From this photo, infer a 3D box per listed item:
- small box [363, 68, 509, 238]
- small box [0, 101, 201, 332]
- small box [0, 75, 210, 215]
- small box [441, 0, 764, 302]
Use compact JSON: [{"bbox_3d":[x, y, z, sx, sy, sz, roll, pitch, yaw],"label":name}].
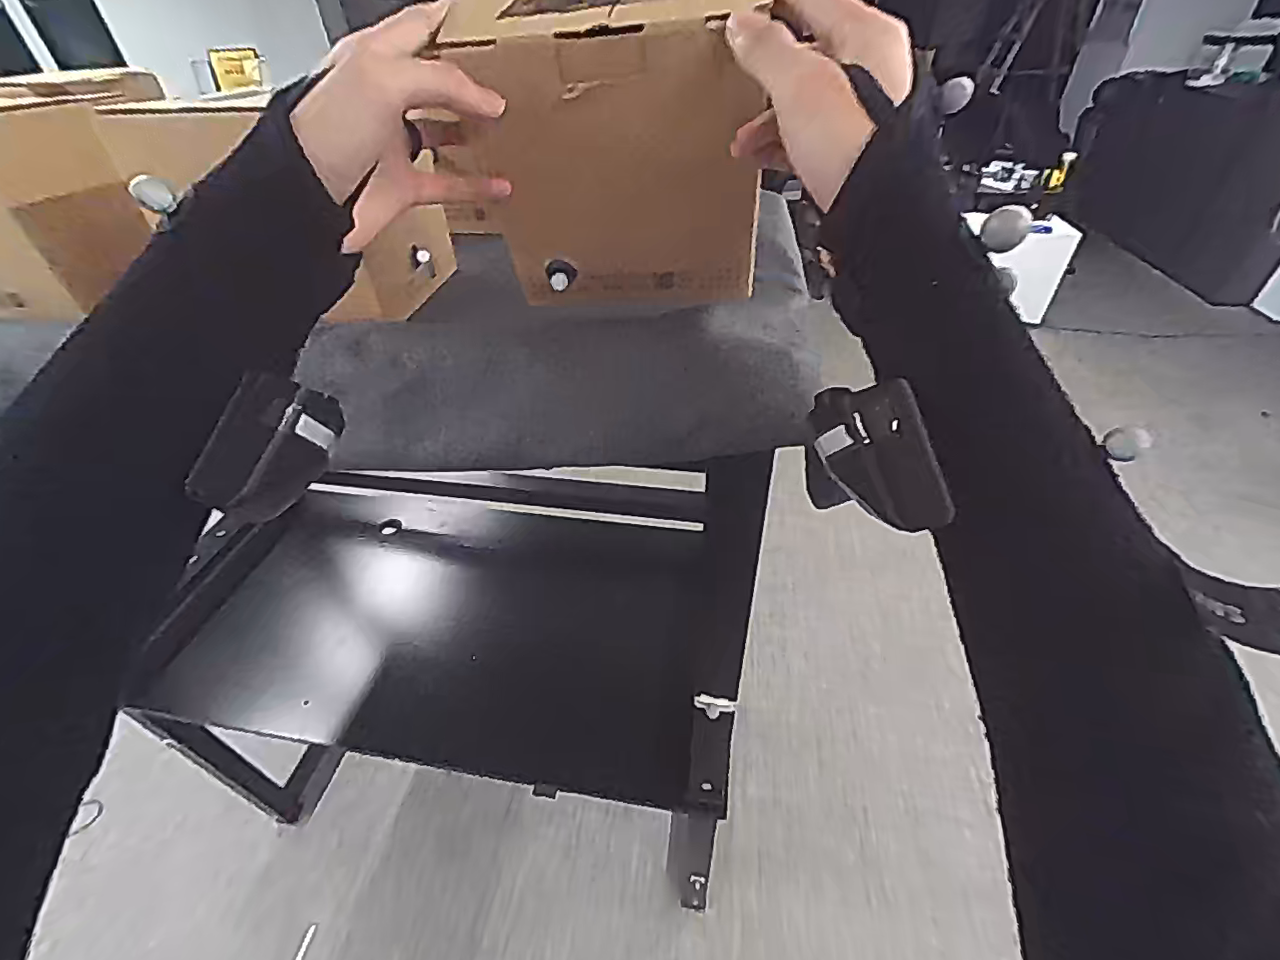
[{"bbox_3d":[-0.211,-0.424,0.700,0.168,0.176,0.179,4,41,8],"label":"small box"},{"bbox_3d":[-0.585,-0.258,0.526,0.168,0.176,0.179,1,40,6],"label":"small box"},{"bbox_3d":[-0.782,-0.464,0.774,0.179,0.176,0.168,4,41,6],"label":"small box"},{"bbox_3d":[-0.006,-0.239,0.370,0.168,0.176,0.179,0,59,7],"label":"small box"}]
